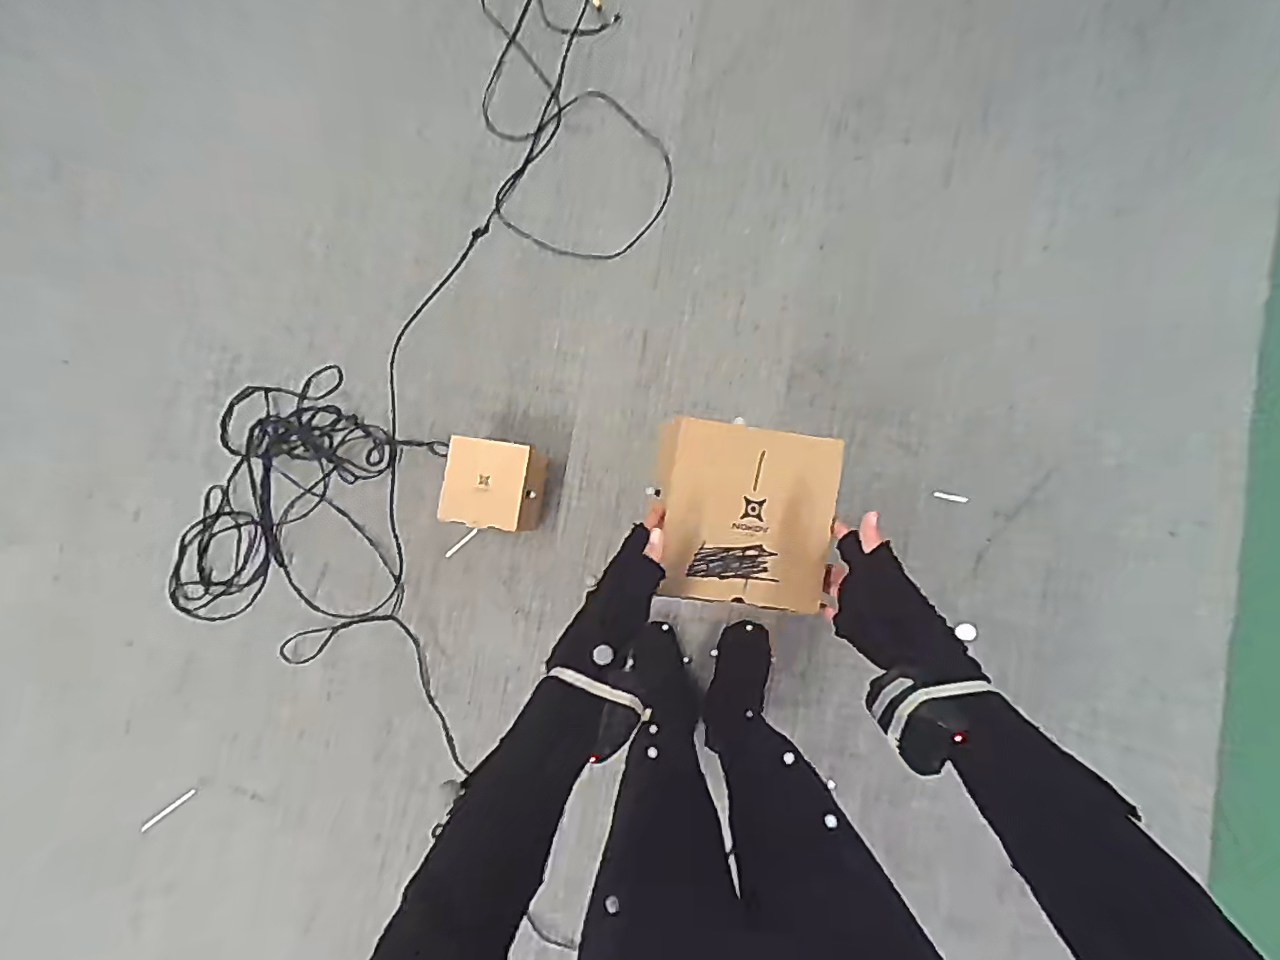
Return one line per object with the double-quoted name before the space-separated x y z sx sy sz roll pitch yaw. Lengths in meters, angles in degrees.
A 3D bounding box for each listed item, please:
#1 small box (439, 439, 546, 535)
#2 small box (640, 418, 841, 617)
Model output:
"small box" -0.306 0.019 1.163 0.168 0.176 0.179 8 86 4
"small box" 0.095 0.034 0.597 0.168 0.176 0.179 8 92 -6
